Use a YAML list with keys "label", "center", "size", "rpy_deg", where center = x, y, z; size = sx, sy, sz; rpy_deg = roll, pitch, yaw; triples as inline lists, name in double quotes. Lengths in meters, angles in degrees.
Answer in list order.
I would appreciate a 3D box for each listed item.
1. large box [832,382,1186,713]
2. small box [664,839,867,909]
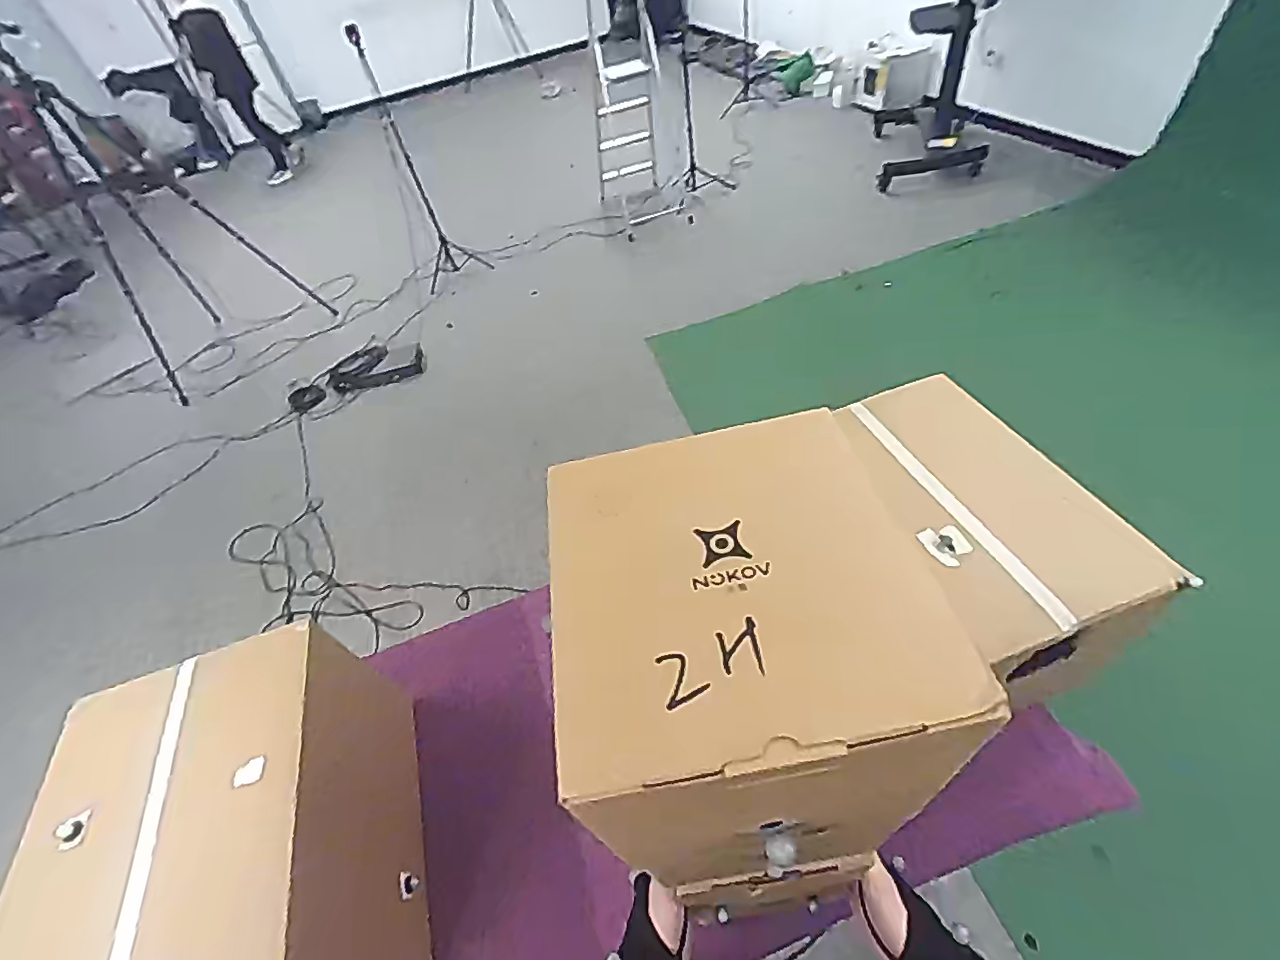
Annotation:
- label: "large box"
  center: [0.409, 0.126, 0.807]
  size: [0.320, 0.320, 0.408]
  rpy_deg: [-21, 49, -5]
- label: "small box"
  center: [0.106, 0.311, 0.543]
  size: [0.168, 0.176, 0.179]
  rpy_deg: [-10, 47, 2]
